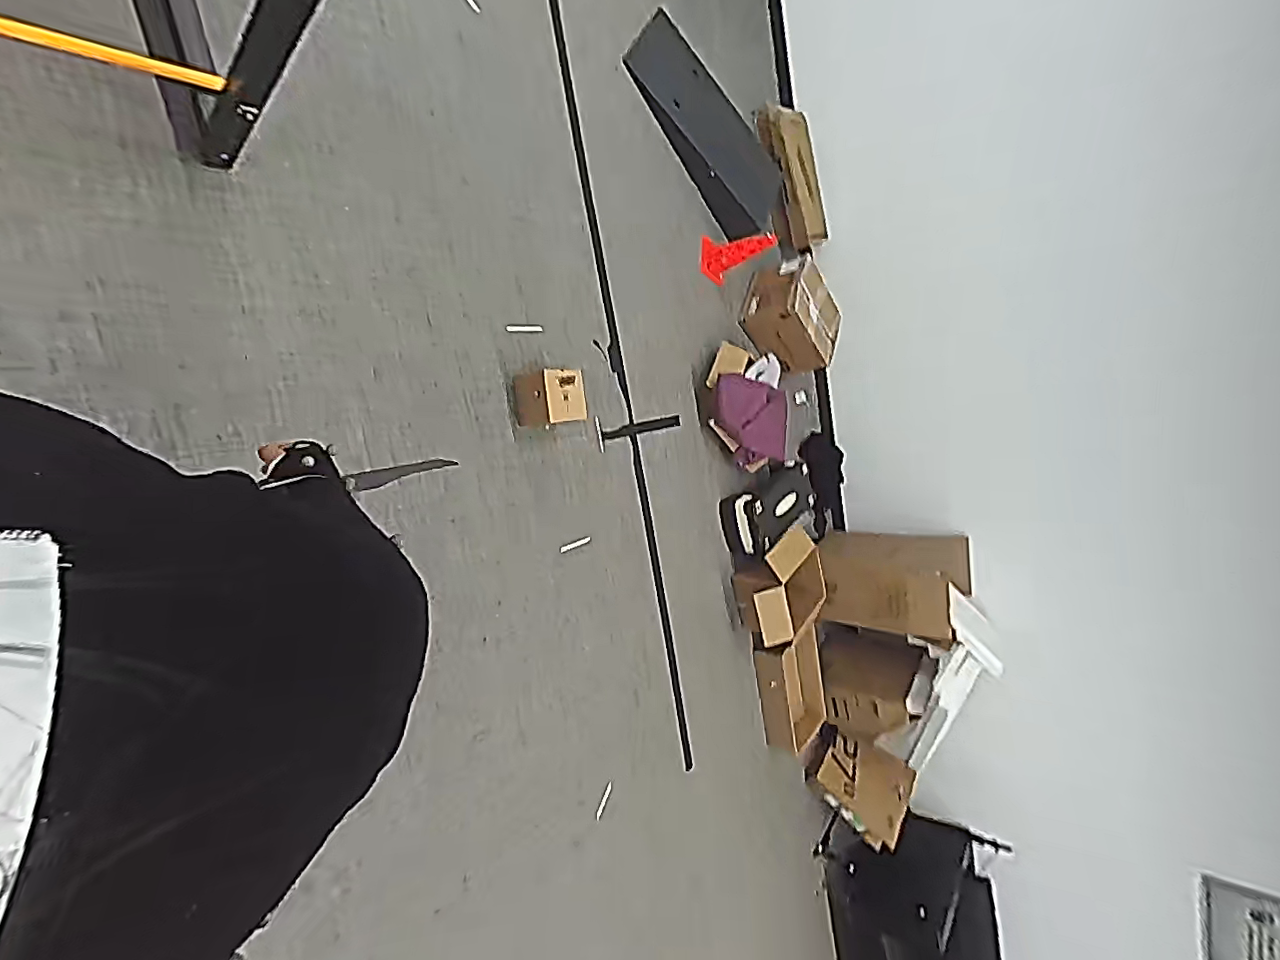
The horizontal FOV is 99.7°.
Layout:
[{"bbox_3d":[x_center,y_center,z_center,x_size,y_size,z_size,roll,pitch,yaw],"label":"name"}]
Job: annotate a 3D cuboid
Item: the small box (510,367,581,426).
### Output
[{"bbox_3d":[-0.327,-0.285,1.854,0.168,0.176,0.179,-13,99,-48],"label":"small box"}]
